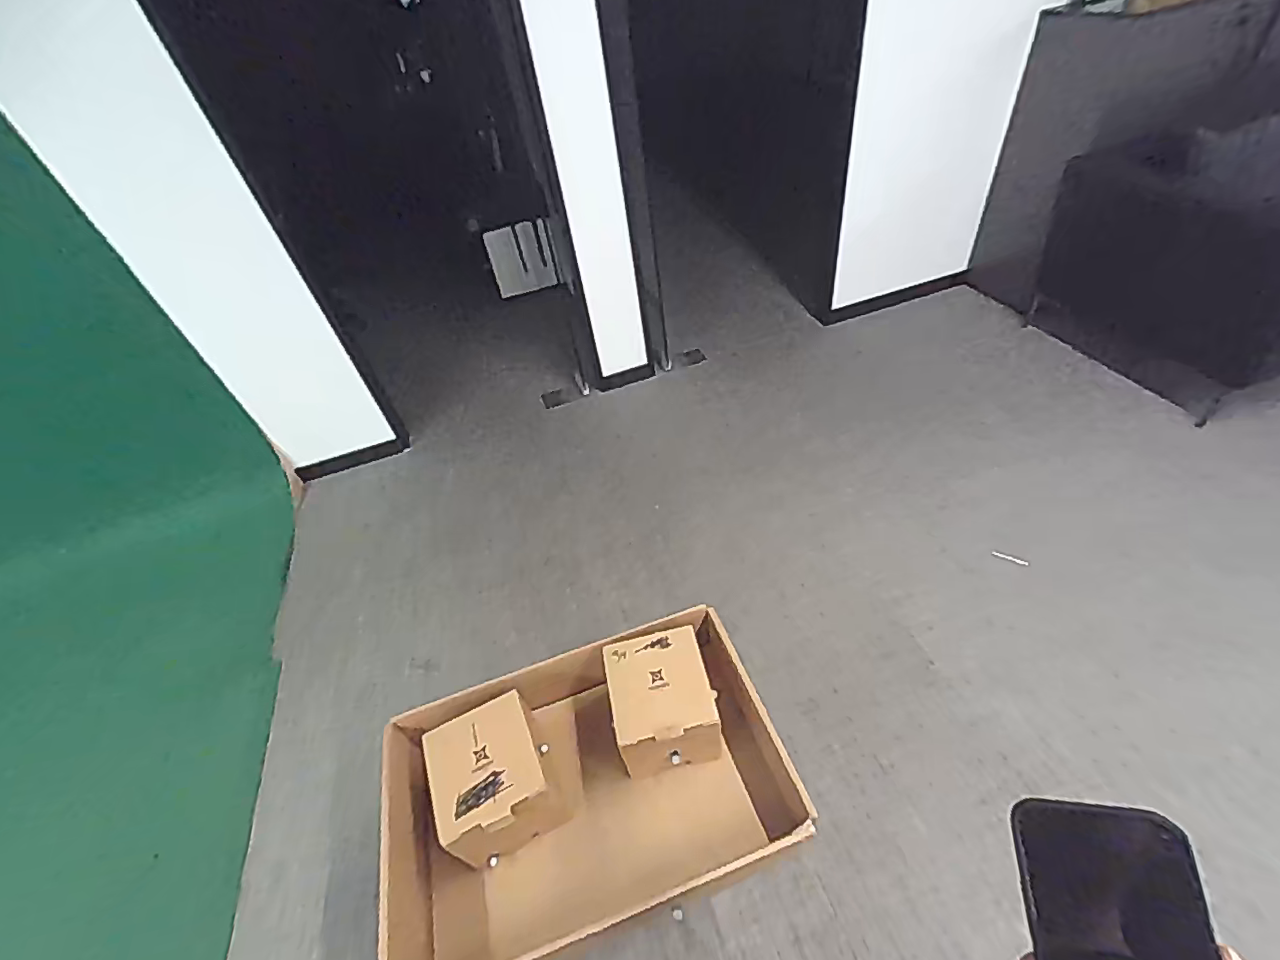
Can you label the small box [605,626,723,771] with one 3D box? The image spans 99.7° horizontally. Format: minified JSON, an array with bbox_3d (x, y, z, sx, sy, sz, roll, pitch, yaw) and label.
[{"bbox_3d":[0.045,0.390,0.949,0.168,0.176,0.179,-13,46,-2],"label":"small box"}]
